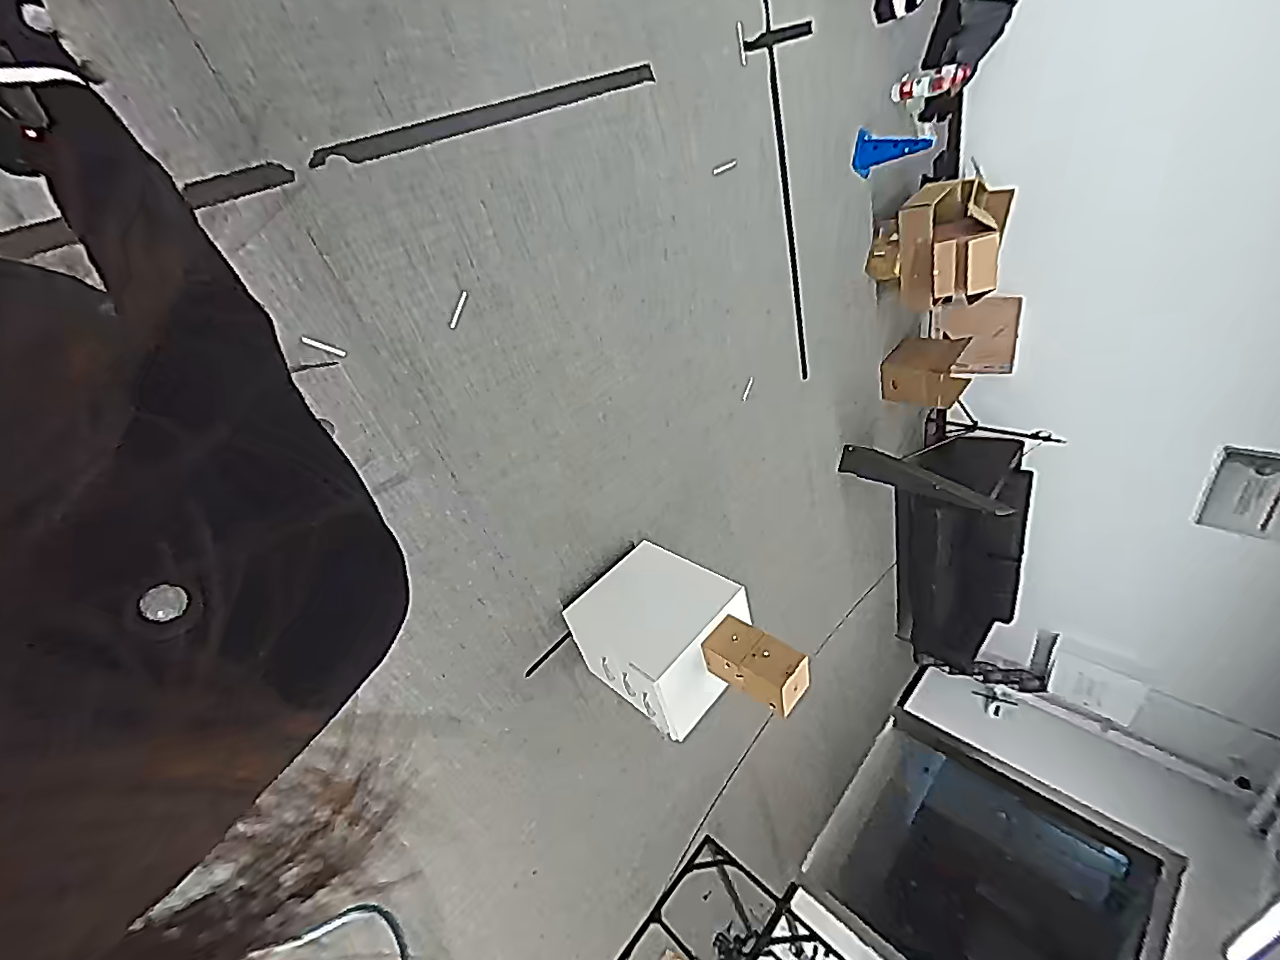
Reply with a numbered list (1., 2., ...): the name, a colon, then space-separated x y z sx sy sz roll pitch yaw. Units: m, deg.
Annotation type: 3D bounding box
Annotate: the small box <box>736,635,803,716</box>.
1. small box: 0.457 0.681 1.906 0.168 0.176 0.179 -37 129 -32
